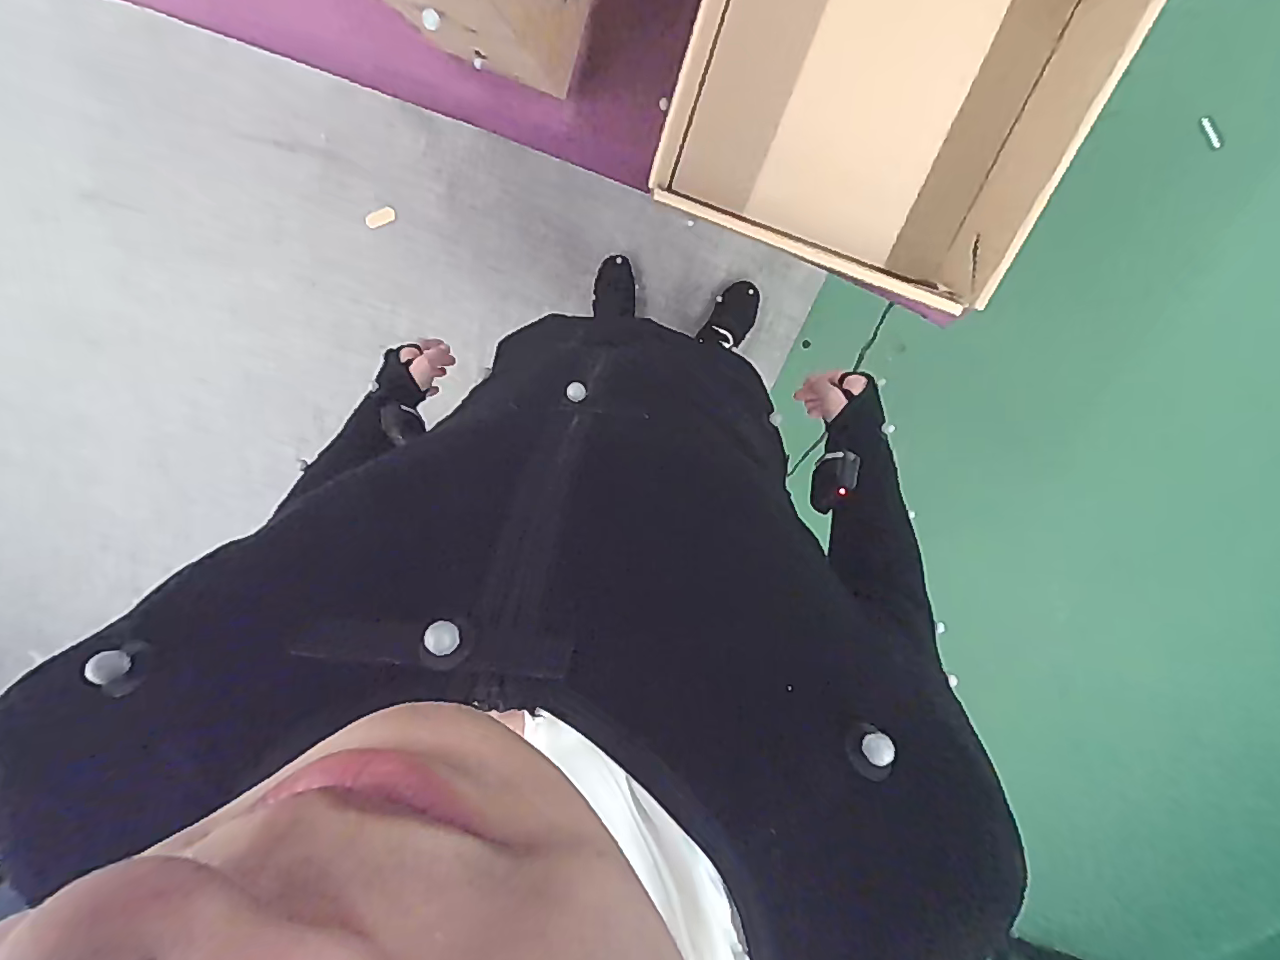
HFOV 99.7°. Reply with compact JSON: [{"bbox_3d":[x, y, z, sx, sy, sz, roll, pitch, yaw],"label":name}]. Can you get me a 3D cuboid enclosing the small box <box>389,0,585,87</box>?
[{"bbox_3d":[-0.152,-0.566,0.584,0.168,0.176,0.179,19,114,-6],"label":"small box"}]
